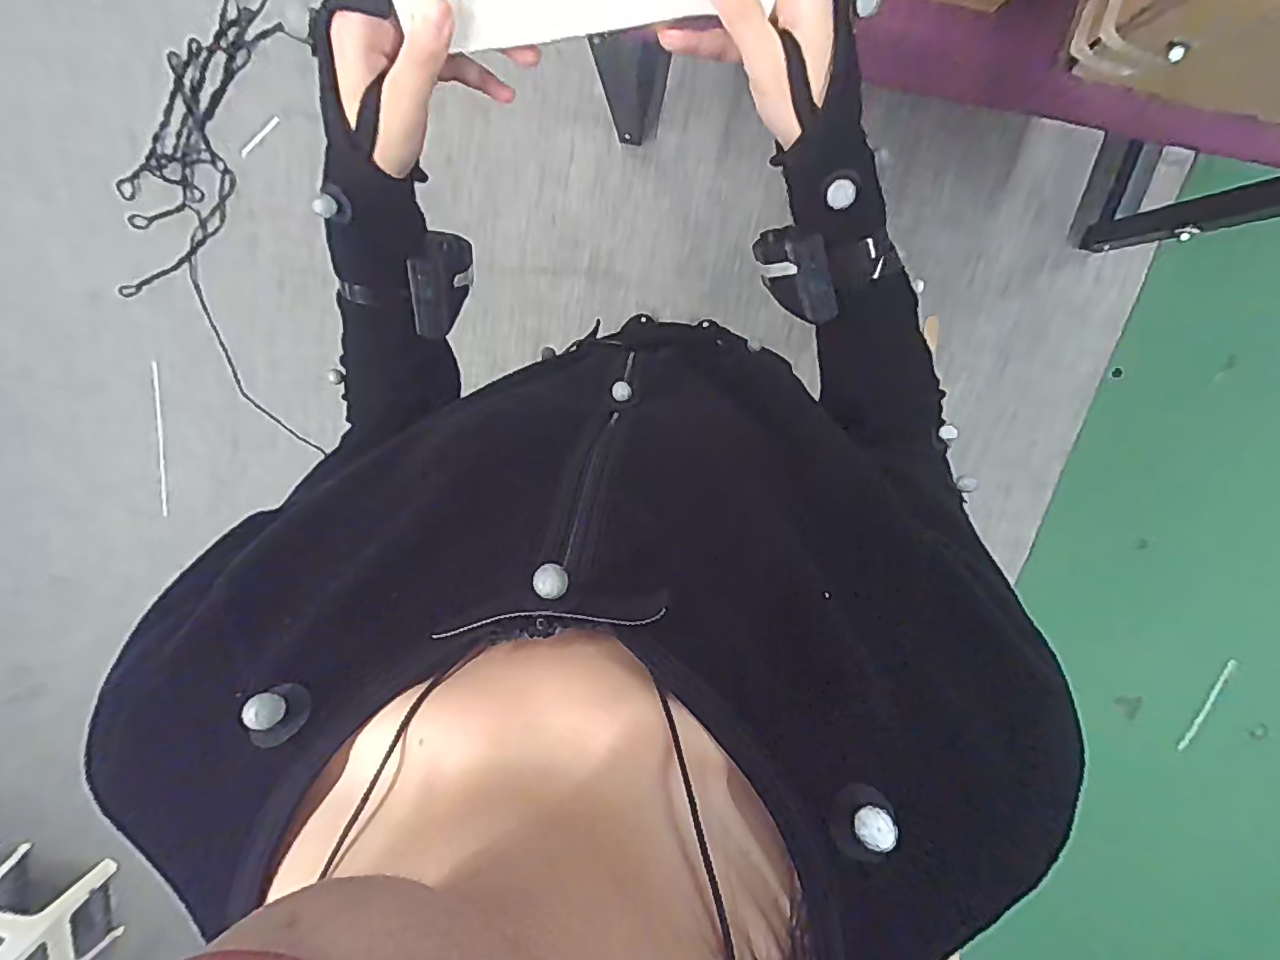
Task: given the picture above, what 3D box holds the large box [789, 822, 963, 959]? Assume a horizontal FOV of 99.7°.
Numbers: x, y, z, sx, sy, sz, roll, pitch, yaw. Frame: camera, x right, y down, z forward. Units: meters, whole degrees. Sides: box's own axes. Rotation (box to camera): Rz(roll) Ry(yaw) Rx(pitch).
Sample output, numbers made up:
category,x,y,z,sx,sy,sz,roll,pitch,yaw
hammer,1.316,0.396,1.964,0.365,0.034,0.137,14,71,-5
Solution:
category,x,y,z,sx,sy,sz,roll,pitch,yaw
large box,0.685,1.290,1.641,0.408,0.320,0.320,-2,105,3
